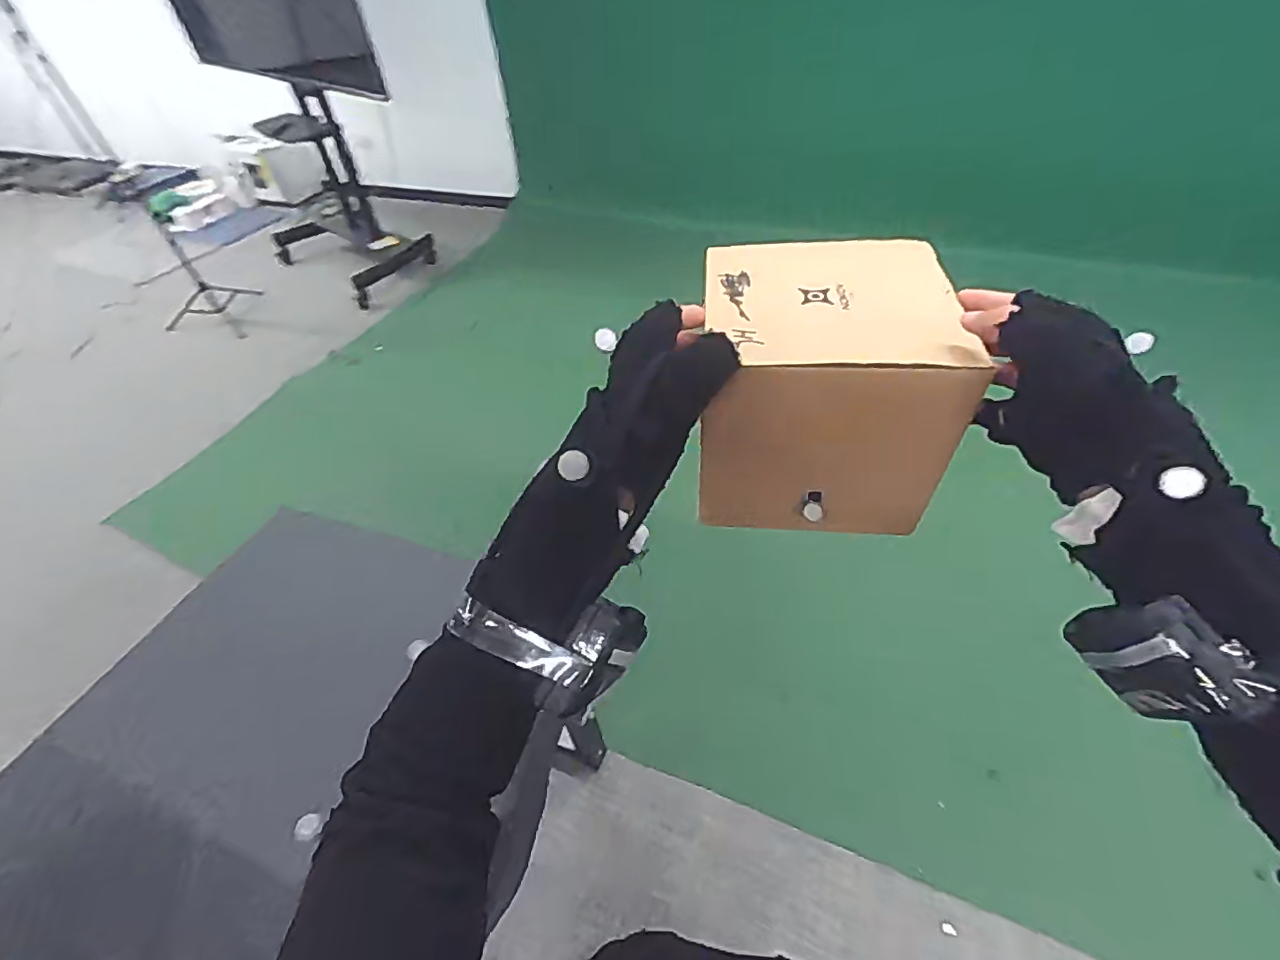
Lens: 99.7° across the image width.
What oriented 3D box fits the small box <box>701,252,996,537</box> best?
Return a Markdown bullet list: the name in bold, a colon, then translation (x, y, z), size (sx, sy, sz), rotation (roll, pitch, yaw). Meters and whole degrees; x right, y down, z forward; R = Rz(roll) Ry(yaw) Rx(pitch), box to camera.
- **small box**: translation (0.146, -0.068, 0.448), size (0.179, 0.176, 0.168), rotation (3, 47, 7)
